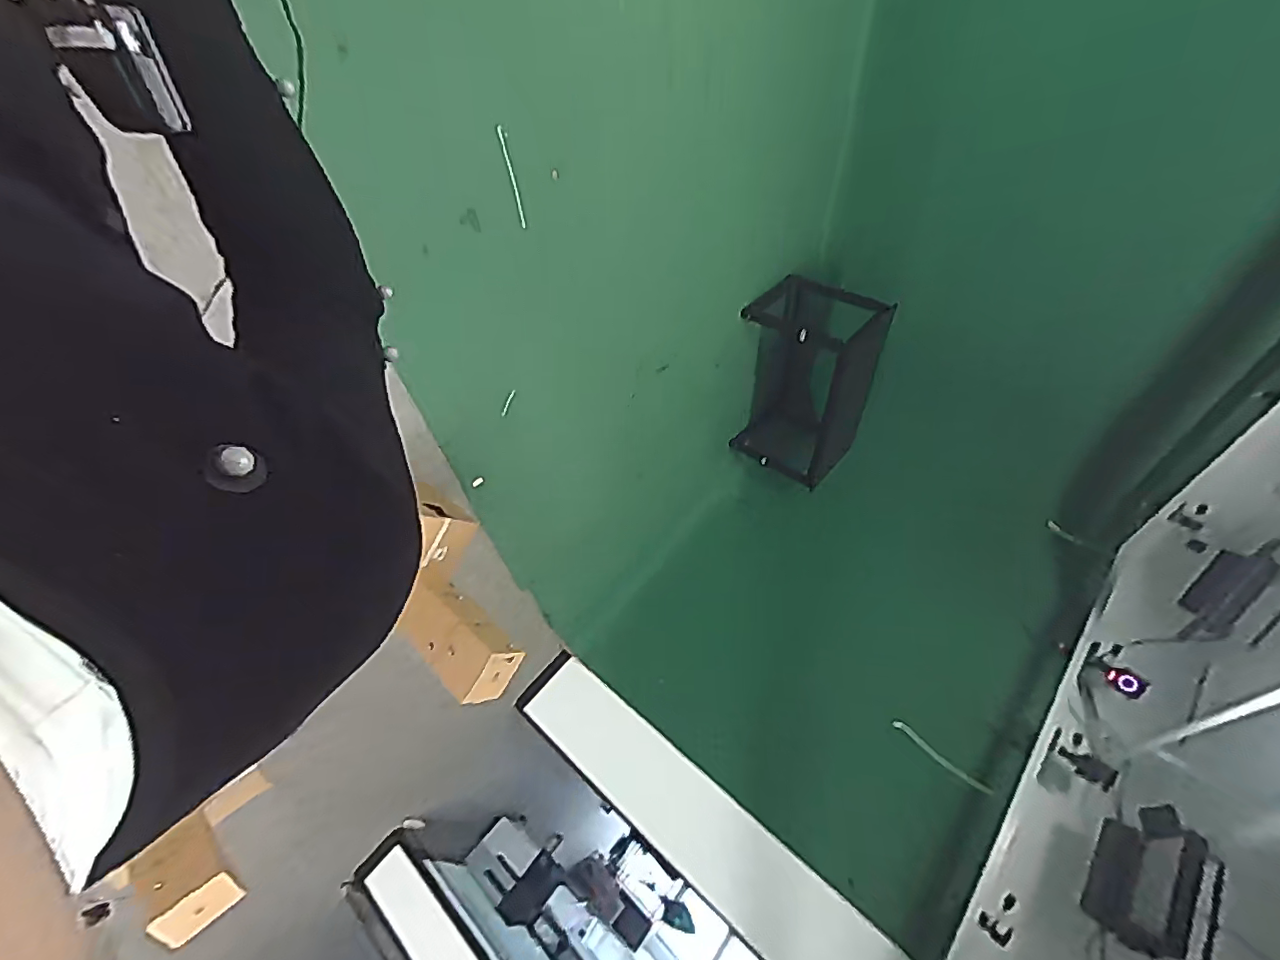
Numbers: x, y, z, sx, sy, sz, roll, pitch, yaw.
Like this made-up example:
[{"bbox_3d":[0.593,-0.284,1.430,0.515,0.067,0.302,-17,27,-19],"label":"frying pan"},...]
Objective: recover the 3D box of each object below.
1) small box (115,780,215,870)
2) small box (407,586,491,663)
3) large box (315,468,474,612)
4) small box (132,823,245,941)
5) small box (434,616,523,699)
[{"bbox_3d":[-1.331,0.997,1.529,0.168,0.176,0.179,-30,139,-41],"label":"small box"},{"bbox_3d":[-0.626,0.471,1.761,0.179,0.176,0.168,-58,152,0],"label":"small box"},{"bbox_3d":[-0.891,0.220,1.963,0.408,0.320,0.320,-61,153,4],"label":"large box"},{"bbox_3d":[-1.208,1.066,1.447,0.168,0.176,0.179,-30,141,-39],"label":"small box"},{"bbox_3d":[-0.507,0.548,1.679,0.179,0.176,0.168,-57,152,1],"label":"small box"}]
